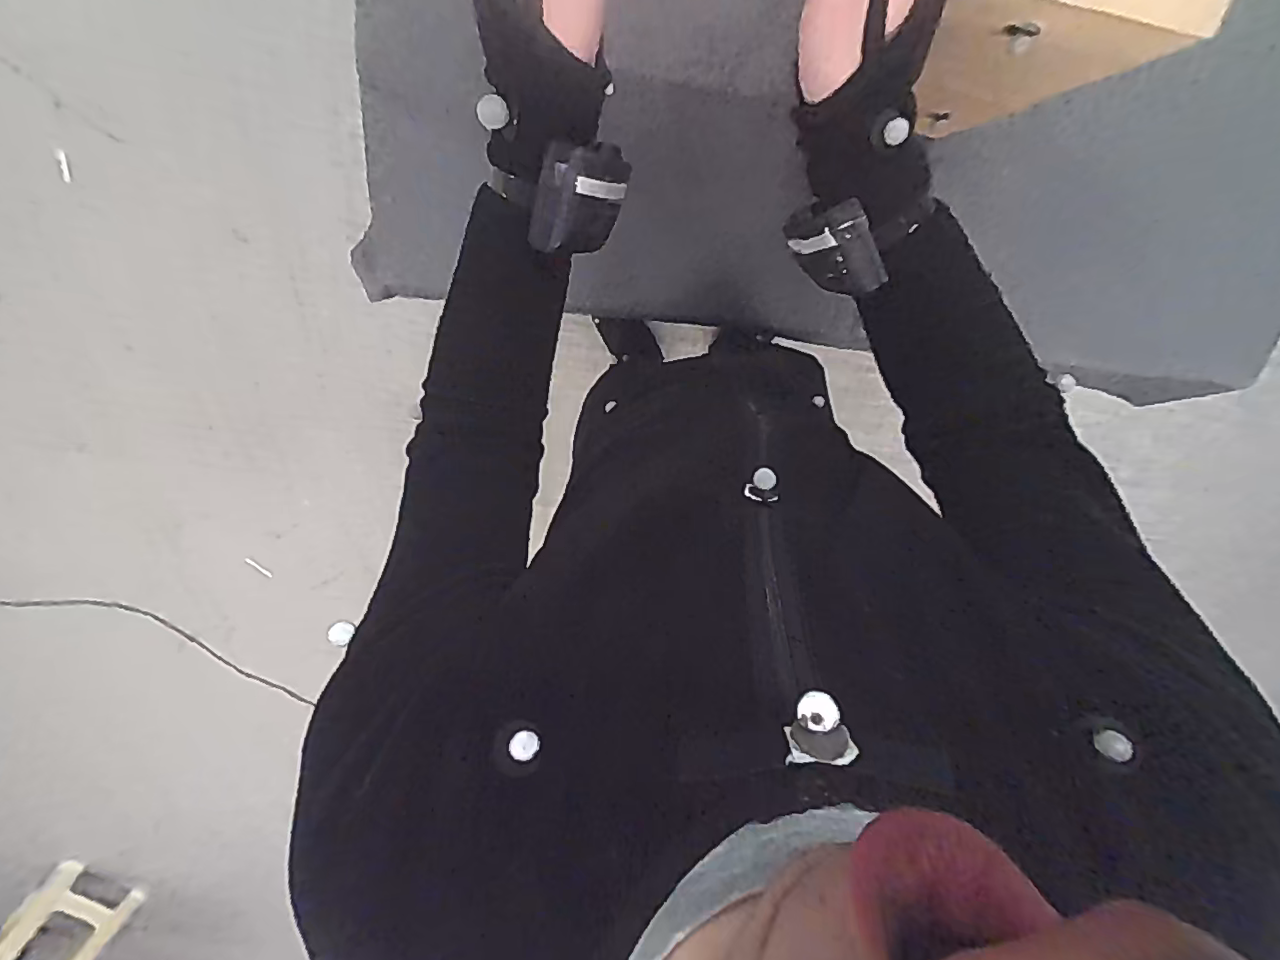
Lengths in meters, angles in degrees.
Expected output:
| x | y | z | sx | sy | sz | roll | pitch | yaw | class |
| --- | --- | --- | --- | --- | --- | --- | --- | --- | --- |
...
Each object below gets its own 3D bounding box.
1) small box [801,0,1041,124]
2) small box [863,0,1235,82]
| x | y | z | sx | sy | sz | roll | pitch | yaw | class |
| --- | --- | --- | --- | --- | --- | --- | --- | --- | --- |
| 0.279 | -0.461 | 0.515 | 0.179 | 0.176 | 0.168 | 9 | 113 | -4 | small box |
| 0.282 | -0.398 | 0.363 | 0.179 | 0.176 | 0.168 | 8 | 114 | -7 | small box |
